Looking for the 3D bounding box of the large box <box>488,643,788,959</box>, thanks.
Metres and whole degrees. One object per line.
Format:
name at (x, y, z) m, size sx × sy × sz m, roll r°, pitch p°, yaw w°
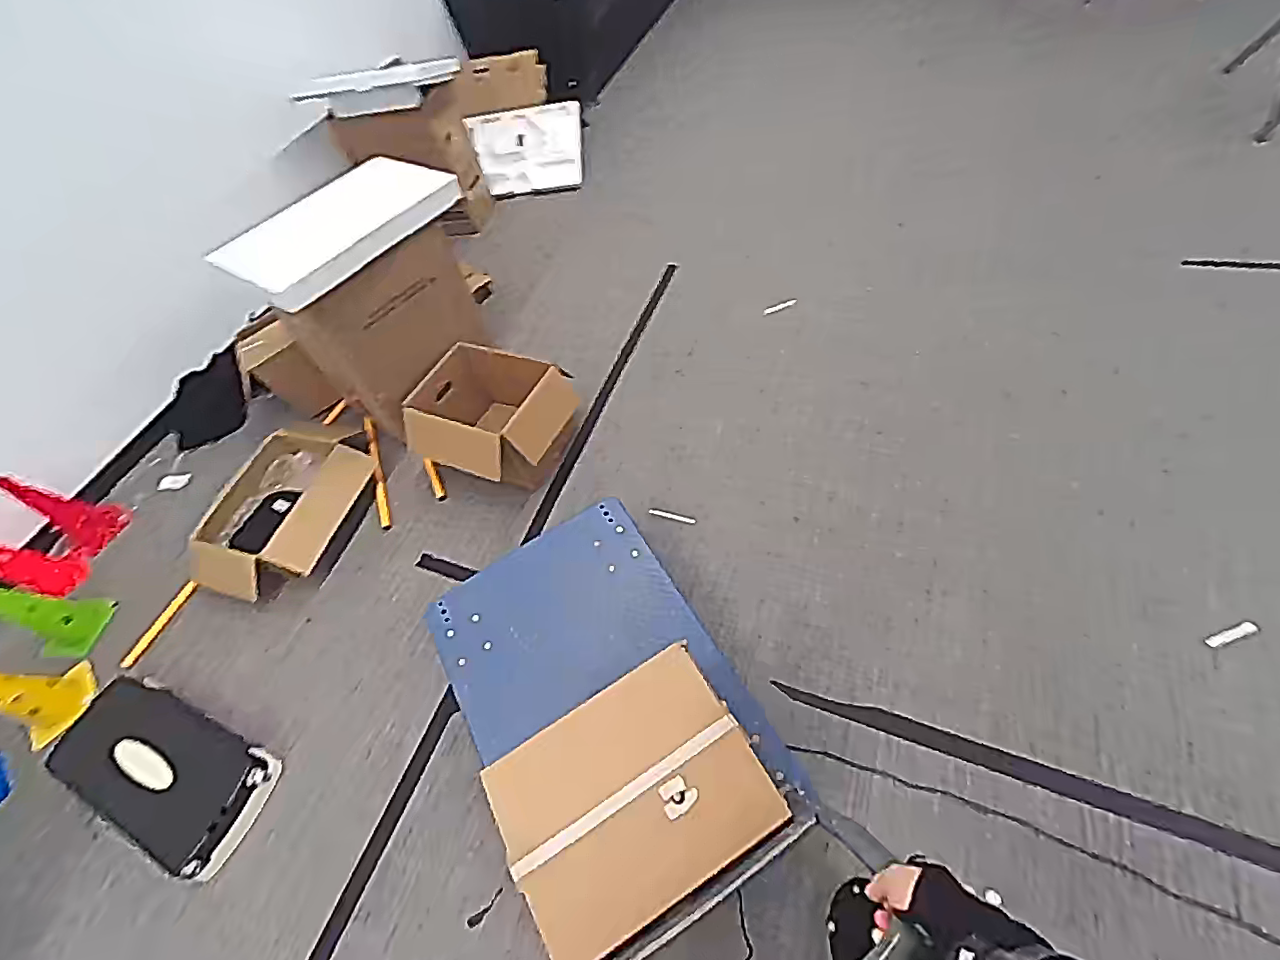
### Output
large box at (0.005, 0.576, 0.995) m, size 0.408 × 0.320 × 0.320 m, roll -31°, pitch 62°, yaw -9°
